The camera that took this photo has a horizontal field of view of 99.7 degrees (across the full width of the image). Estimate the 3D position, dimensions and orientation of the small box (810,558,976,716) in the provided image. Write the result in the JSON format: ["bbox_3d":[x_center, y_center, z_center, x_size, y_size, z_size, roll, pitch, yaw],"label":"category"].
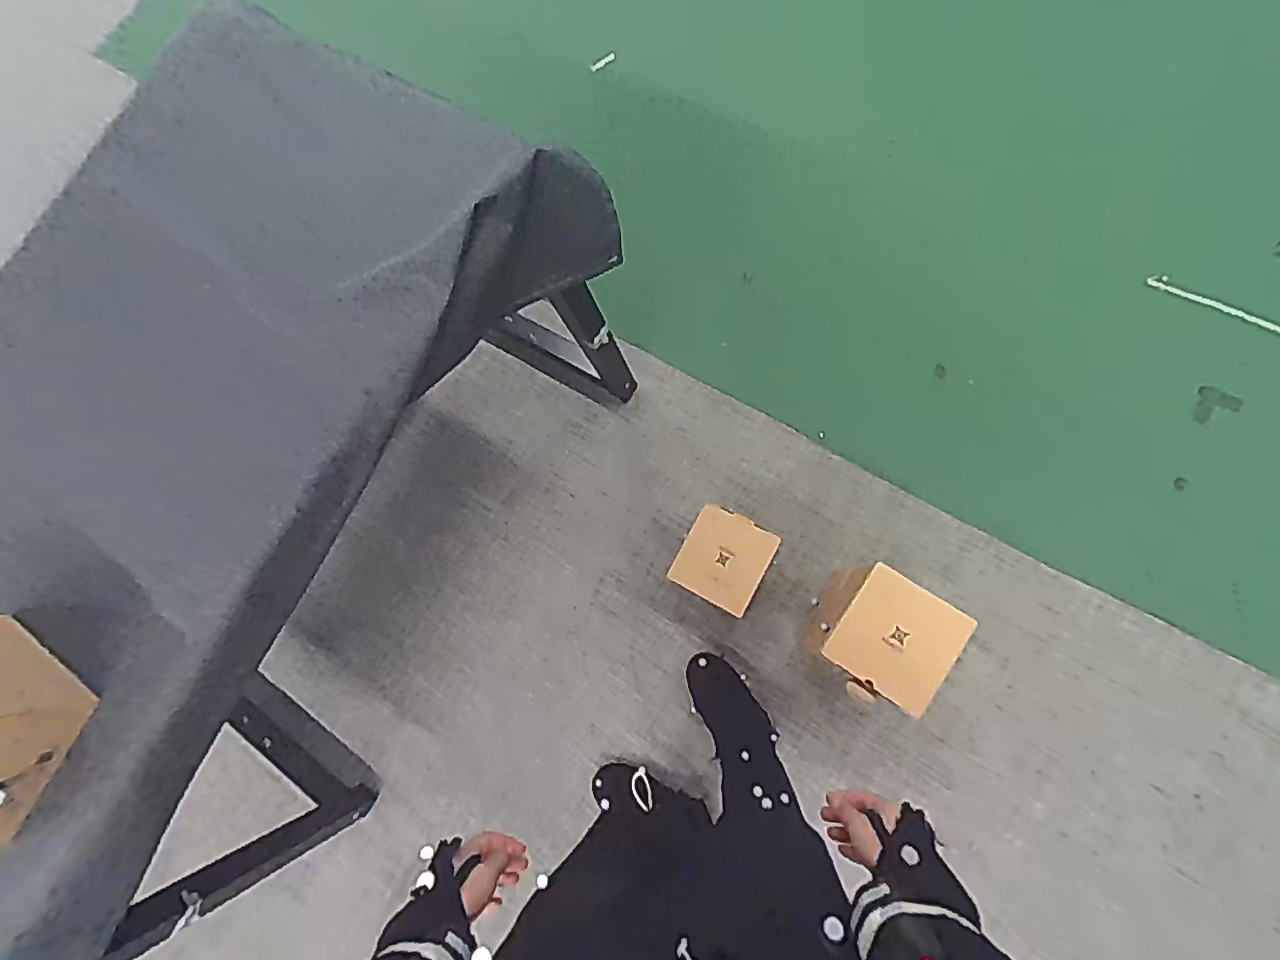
[{"bbox_3d":[0.400,0.248,0.892,0.168,0.176,0.179,33,86,14],"label":"small box"}]

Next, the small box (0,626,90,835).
[{"bbox_3d":[-0.692,0.244,0.499,0.179,0.176,0.168,29,85,13],"label":"small box"}]

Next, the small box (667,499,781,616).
[{"bbox_3d":[0.174,0.161,1.119,0.168,0.176,0.179,26,85,15],"label":"small box"}]

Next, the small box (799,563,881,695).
[{"bbox_3d":[0.424,0.280,1.050,0.168,0.176,0.179,32,87,13],"label":"small box"}]
